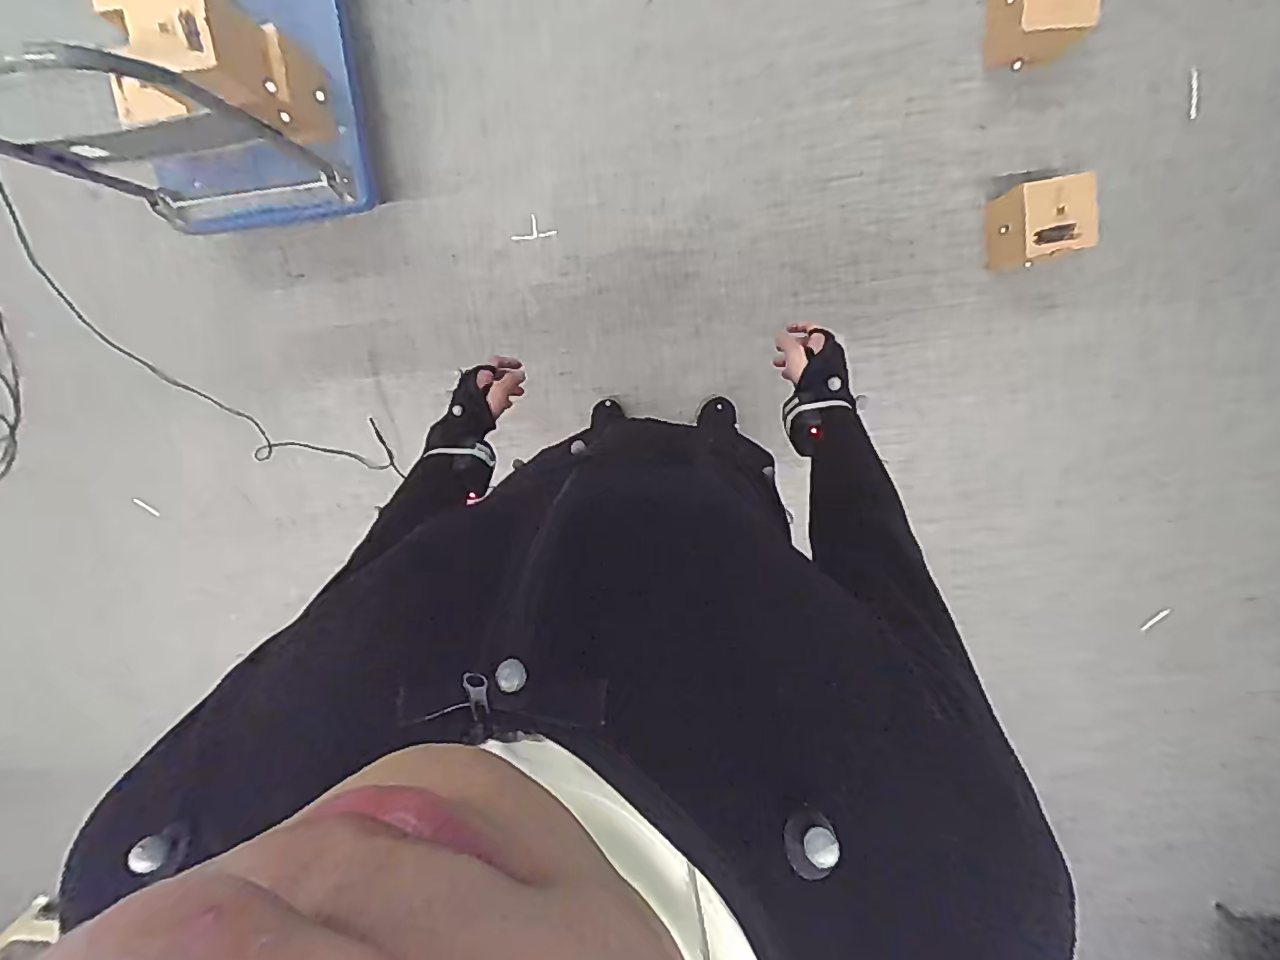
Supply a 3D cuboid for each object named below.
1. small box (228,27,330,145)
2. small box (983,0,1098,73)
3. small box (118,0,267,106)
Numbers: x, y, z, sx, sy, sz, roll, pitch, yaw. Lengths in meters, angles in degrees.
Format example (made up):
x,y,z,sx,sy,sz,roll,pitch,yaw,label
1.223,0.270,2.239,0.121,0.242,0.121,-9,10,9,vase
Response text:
x,y,z,sx,sy,sz,roll,pitch,yaw,label
-0.878,-0.943,1.285,0.168,0.176,0.179,25,101,-2,small box
0.961,-1.127,1.304,0.168,0.176,0.179,1,100,4,small box
-0.912,-0.912,1.118,0.179,0.176,0.168,-4,98,5,small box
